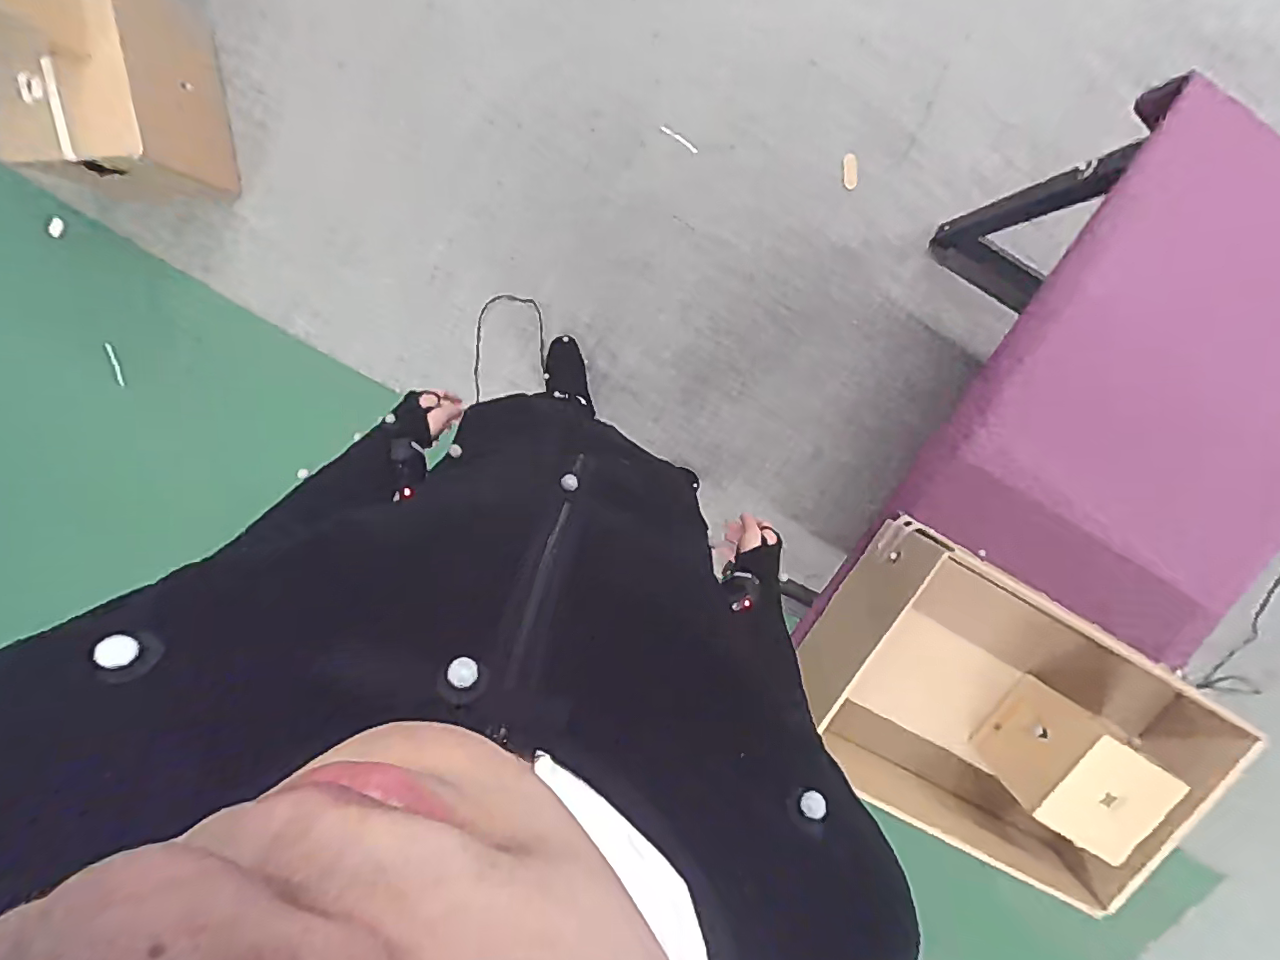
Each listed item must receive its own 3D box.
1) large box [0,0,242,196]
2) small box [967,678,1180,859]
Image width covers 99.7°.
[{"bbox_3d":[-1.224,-0.924,1.262,0.320,0.320,0.408,-2,104,1],"label":"large box"},{"bbox_3d":[0.693,0.459,0.890,0.179,0.176,0.168,32,99,-7],"label":"small box"}]
